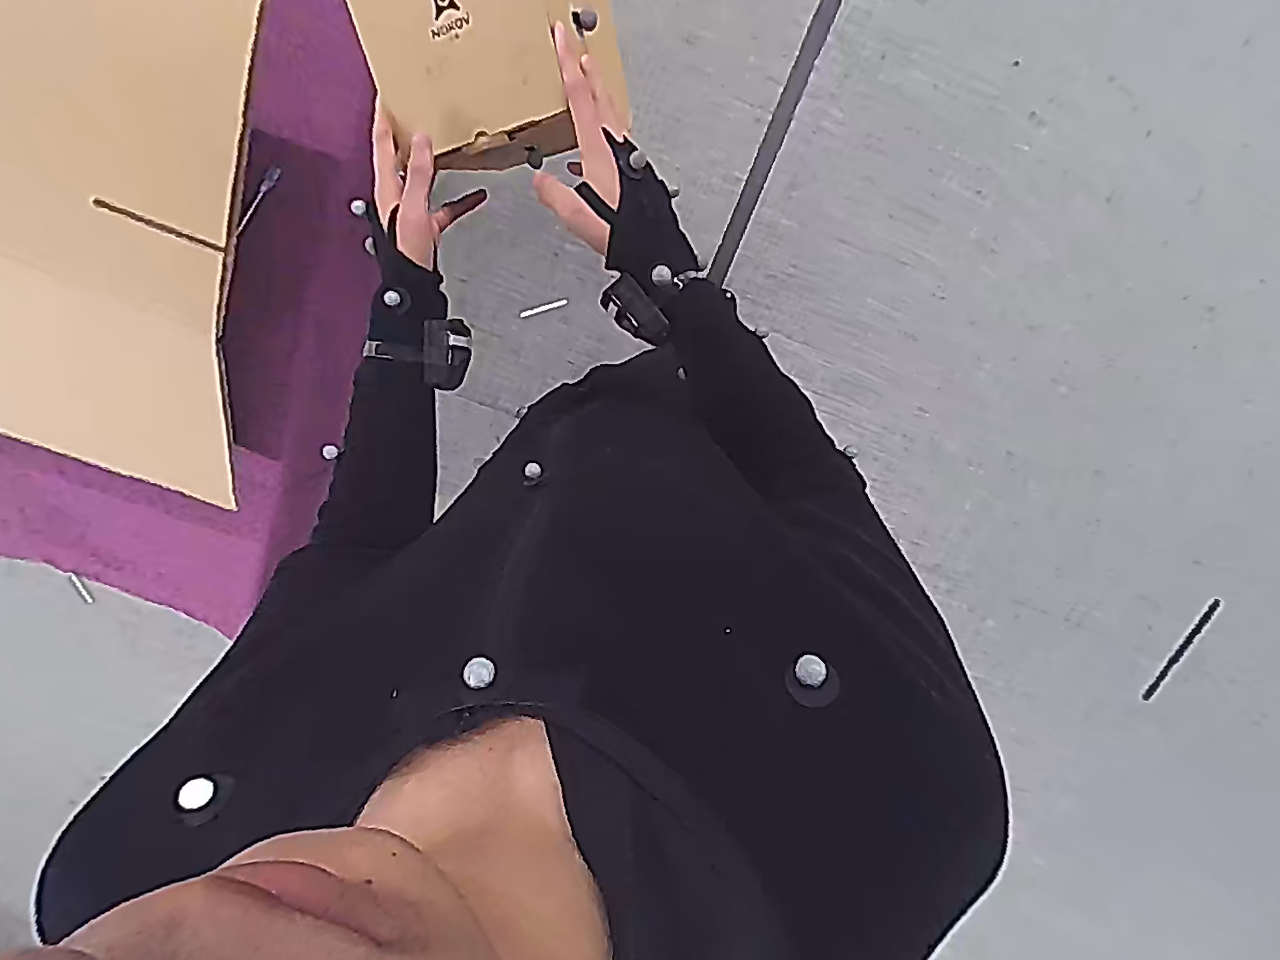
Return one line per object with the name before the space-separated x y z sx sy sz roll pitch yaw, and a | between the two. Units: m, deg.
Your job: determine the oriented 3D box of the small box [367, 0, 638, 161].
small box | -0.112 -0.401 0.480 0.168 0.176 0.179 -3 117 20
